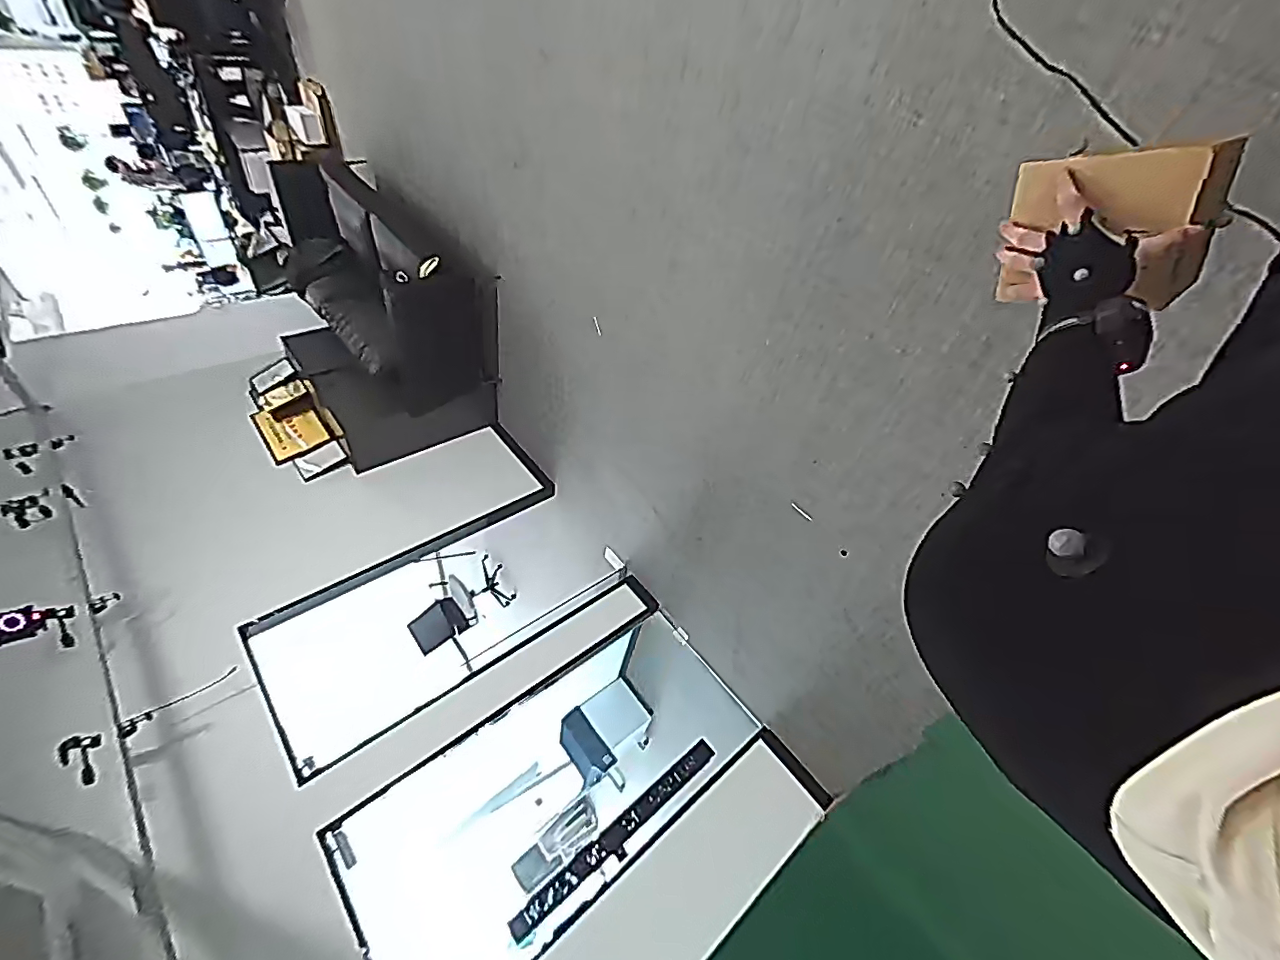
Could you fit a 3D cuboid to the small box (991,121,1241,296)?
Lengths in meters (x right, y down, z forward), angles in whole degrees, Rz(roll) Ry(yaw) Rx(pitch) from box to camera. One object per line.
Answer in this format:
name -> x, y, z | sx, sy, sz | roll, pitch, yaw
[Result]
small box -> 0.584, -0.338, 0.677 | 0.179, 0.176, 0.168 | 26, 135, 46
